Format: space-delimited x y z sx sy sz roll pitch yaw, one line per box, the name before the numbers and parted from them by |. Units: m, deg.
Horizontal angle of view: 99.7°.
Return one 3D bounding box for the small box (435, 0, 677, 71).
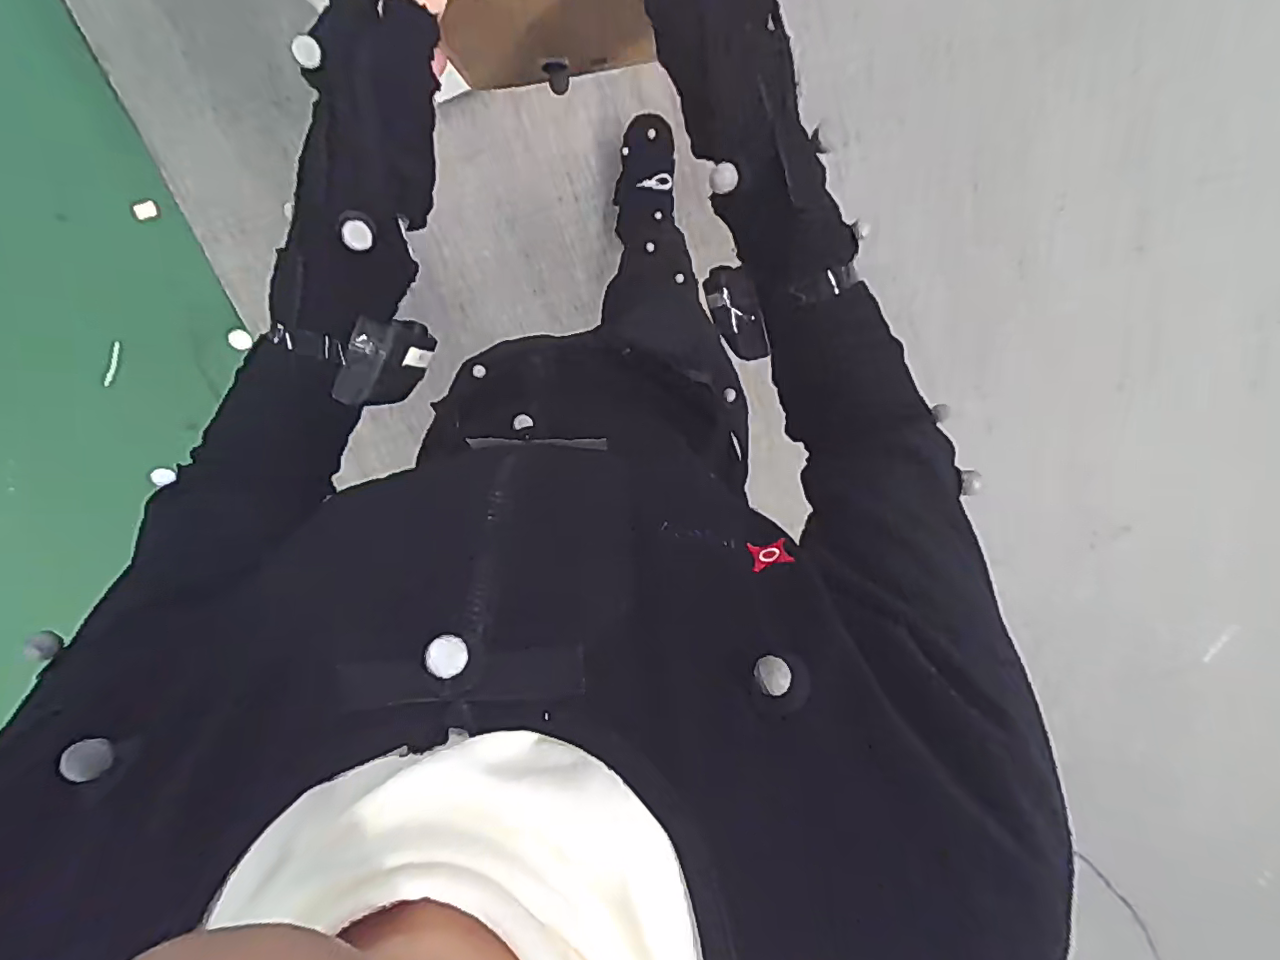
small box | -0.067 -0.389 0.323 0.168 0.176 0.179 -10 112 4
